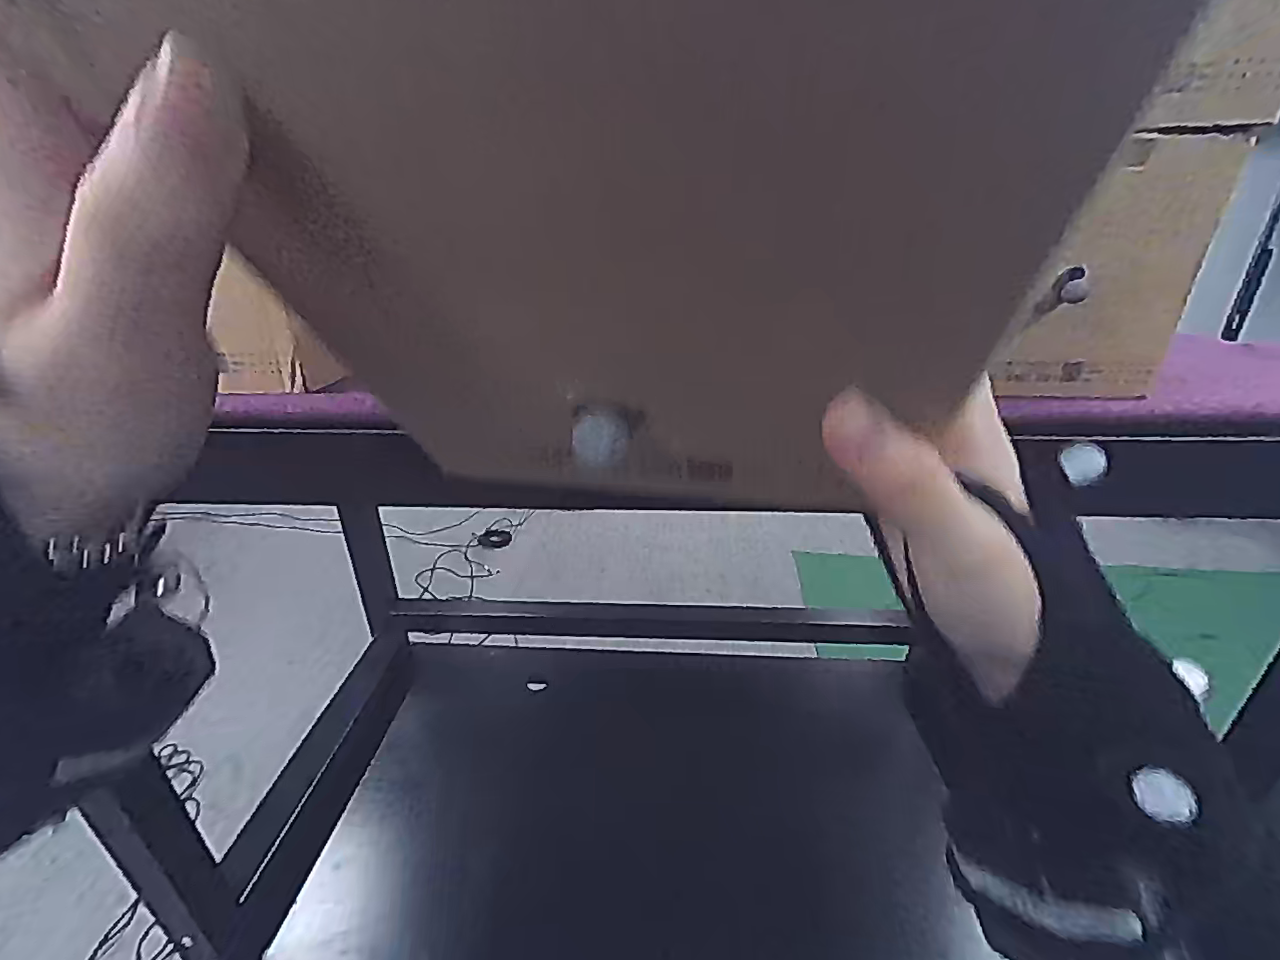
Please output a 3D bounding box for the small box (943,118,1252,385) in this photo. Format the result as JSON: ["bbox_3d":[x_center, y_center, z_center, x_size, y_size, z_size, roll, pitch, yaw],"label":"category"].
[{"bbox_3d":[0.292,-0.179,0.436,0.168,0.176,0.179,2,27,4],"label":"small box"}]
